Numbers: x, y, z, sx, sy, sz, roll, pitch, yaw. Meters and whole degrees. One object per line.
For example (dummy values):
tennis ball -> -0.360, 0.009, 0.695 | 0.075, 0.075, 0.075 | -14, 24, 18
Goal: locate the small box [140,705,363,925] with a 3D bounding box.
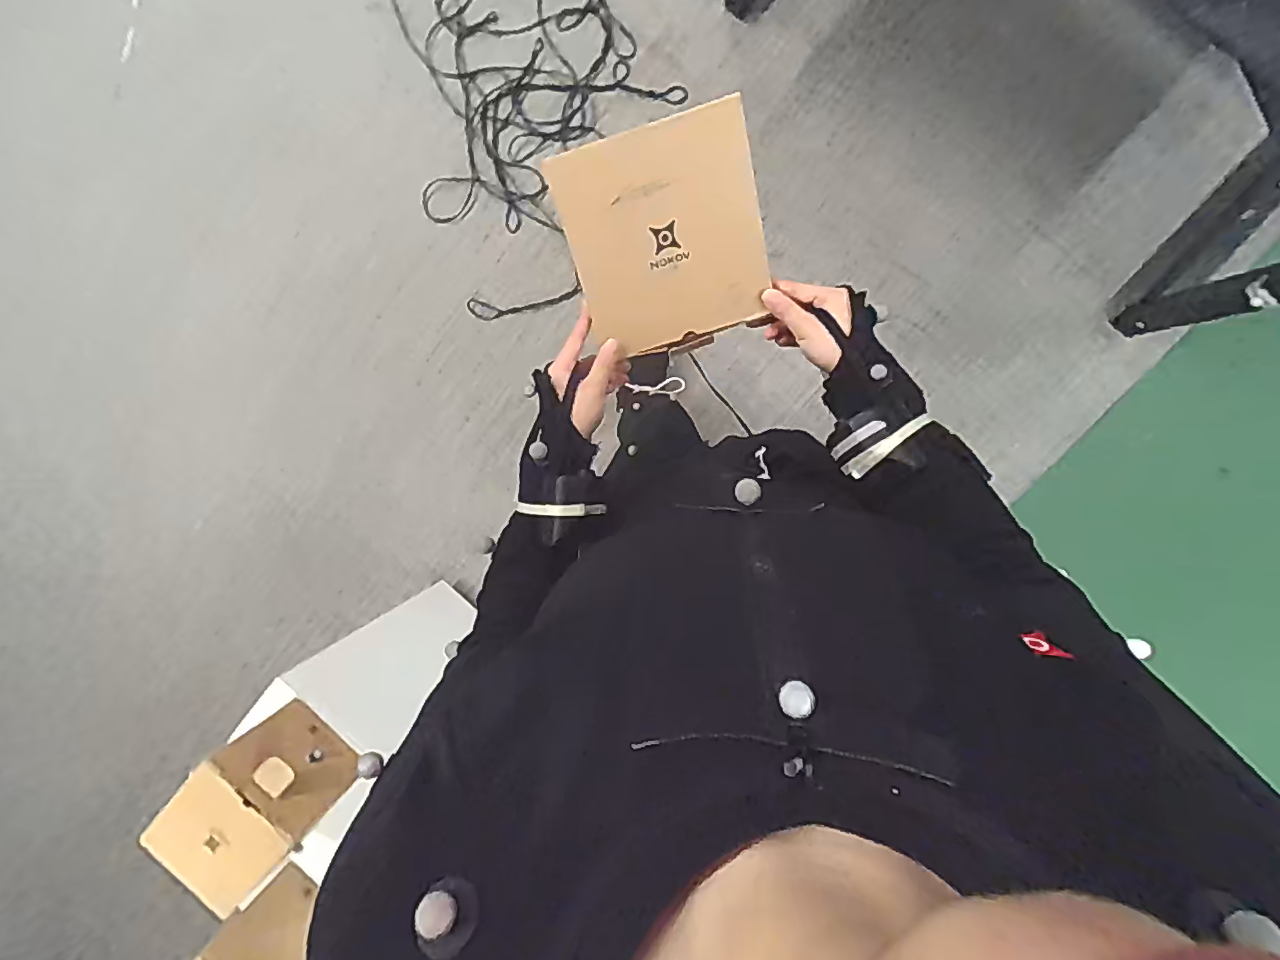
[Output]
small box -> -0.555, 0.478, 0.796 | 0.168, 0.176, 0.179 | 42, 100, 2

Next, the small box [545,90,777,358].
small box -> 0.023, -0.242, 0.529 | 0.168, 0.176, 0.179 | -15, 115, 6
